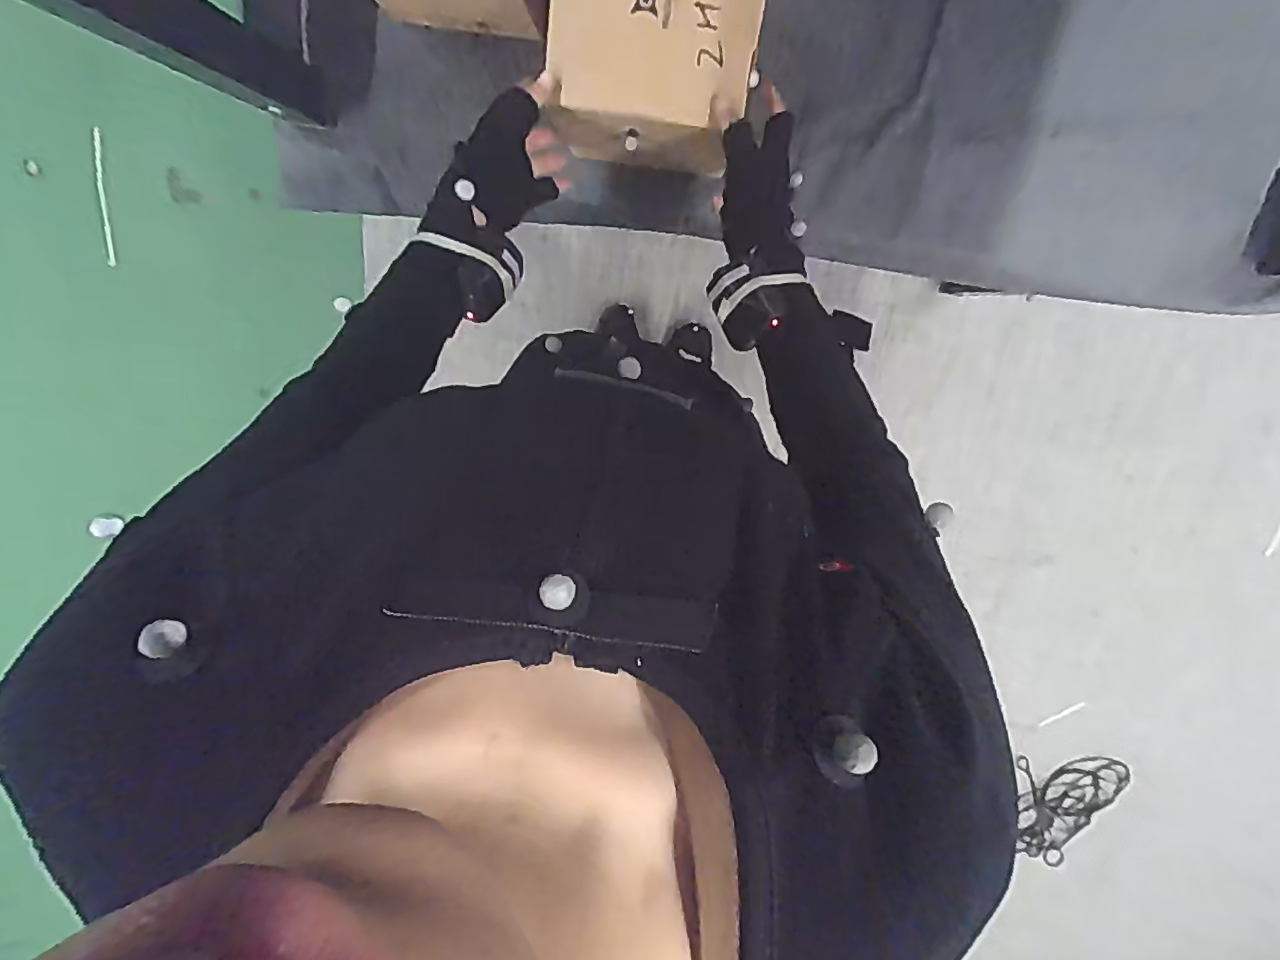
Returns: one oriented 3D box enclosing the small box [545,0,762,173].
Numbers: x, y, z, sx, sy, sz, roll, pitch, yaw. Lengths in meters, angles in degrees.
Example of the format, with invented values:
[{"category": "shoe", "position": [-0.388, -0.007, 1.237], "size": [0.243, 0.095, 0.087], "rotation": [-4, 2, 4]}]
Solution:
[{"category": "small box", "position": [0.016, -0.418, 0.529], "size": [0.179, 0.176, 0.168], "rotation": [8, 108, -1]}]
